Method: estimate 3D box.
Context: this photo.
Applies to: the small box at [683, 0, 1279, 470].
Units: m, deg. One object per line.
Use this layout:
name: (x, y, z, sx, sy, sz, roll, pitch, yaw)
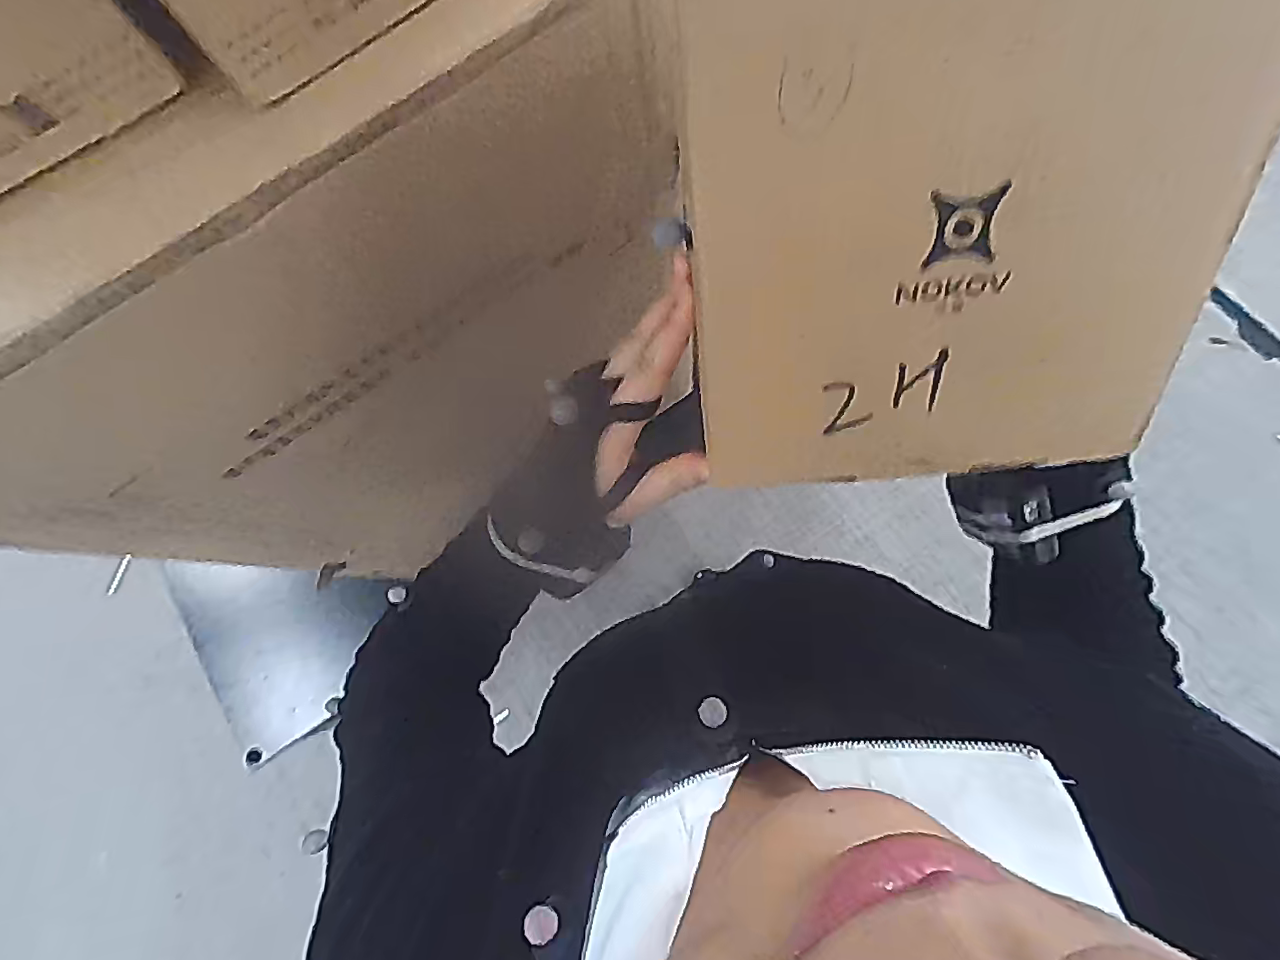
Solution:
small box: (0.109, -0.127, 0.248, 0.168, 0.179, 0.176, -4, 35, 7)
